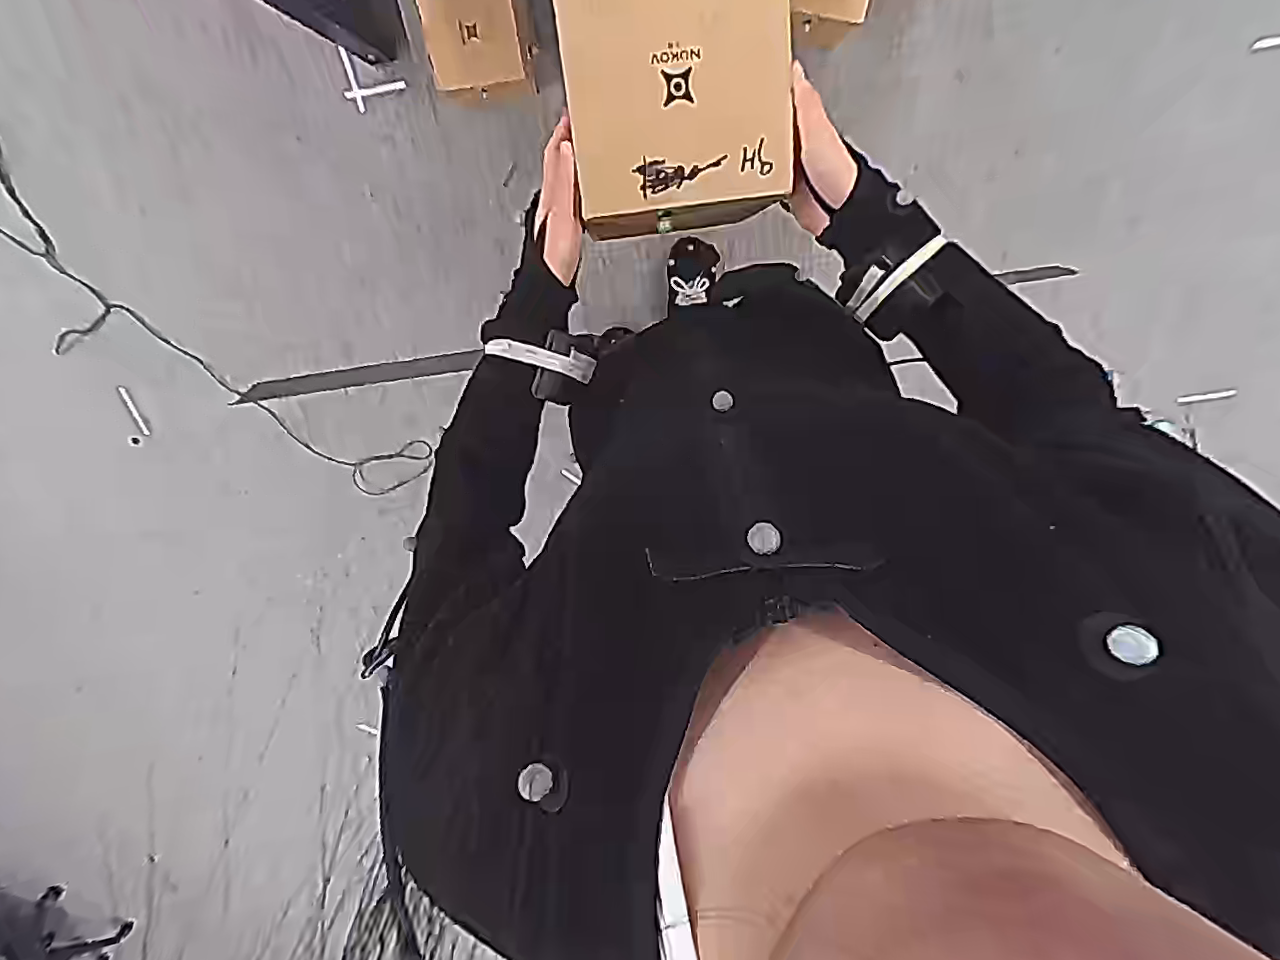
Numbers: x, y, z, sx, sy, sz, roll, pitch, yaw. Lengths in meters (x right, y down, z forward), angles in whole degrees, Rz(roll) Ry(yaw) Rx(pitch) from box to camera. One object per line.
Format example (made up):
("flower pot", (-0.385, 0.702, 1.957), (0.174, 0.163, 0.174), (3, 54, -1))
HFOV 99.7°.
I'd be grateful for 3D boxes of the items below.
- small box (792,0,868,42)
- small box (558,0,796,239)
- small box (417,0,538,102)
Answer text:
("small box", (0.339, -0.965, 1.028), (0.179, 0.176, 0.168), (8, 116, -3))
("small box", (0.024, -0.316, 0.460), (0.168, 0.176, 0.179), (-7, 108, 0))
("small box", (-0.314, -0.869, 1.071), (0.179, 0.176, 0.168), (-6, 116, 2))
